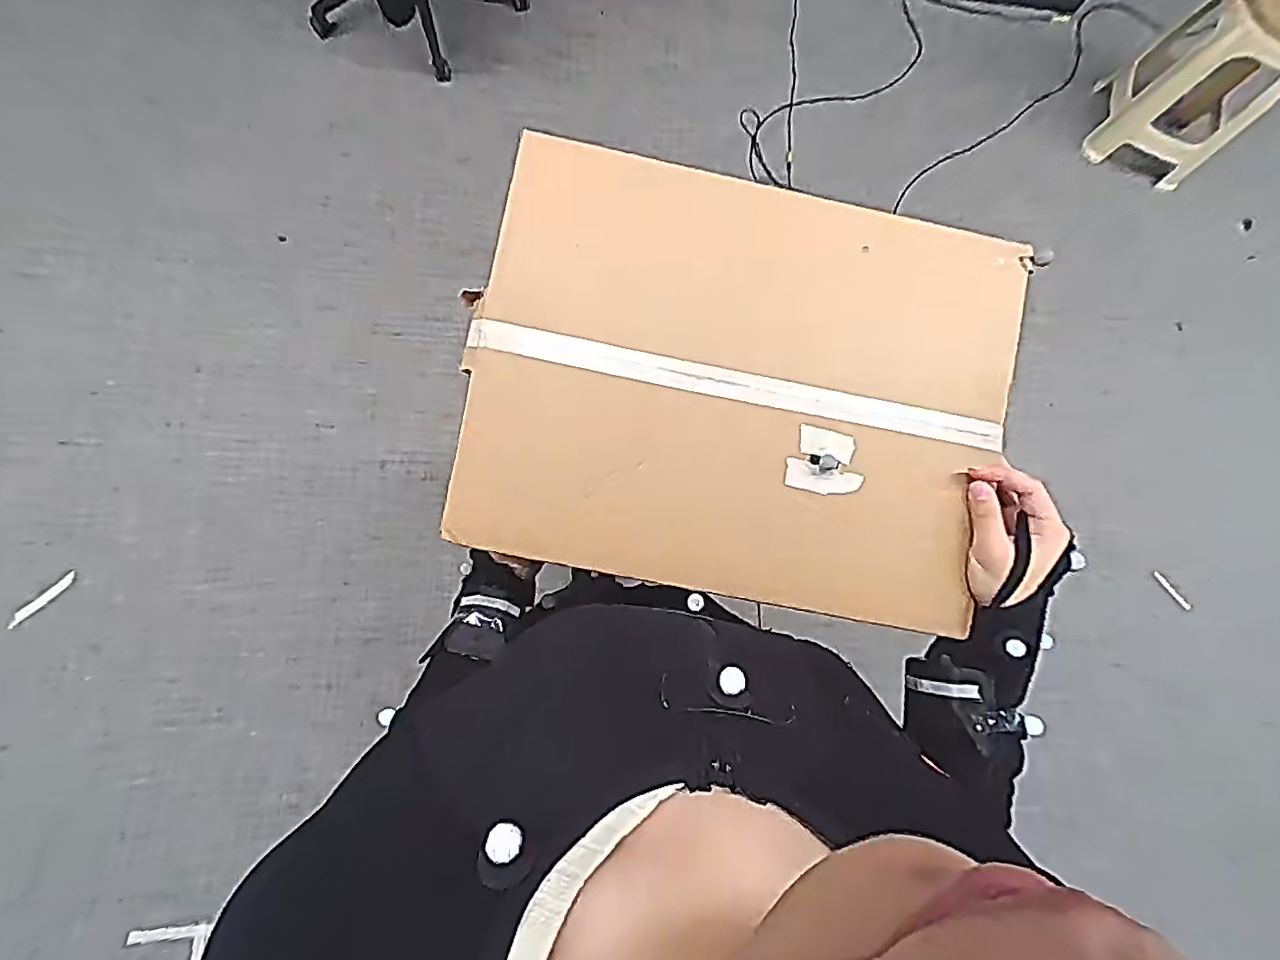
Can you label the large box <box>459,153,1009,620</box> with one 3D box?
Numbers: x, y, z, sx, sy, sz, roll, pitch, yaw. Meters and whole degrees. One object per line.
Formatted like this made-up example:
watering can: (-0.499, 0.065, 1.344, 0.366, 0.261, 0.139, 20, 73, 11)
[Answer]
large box: (0.070, -0.066, 0.567, 0.408, 0.320, 0.320, 10, 88, -4)
